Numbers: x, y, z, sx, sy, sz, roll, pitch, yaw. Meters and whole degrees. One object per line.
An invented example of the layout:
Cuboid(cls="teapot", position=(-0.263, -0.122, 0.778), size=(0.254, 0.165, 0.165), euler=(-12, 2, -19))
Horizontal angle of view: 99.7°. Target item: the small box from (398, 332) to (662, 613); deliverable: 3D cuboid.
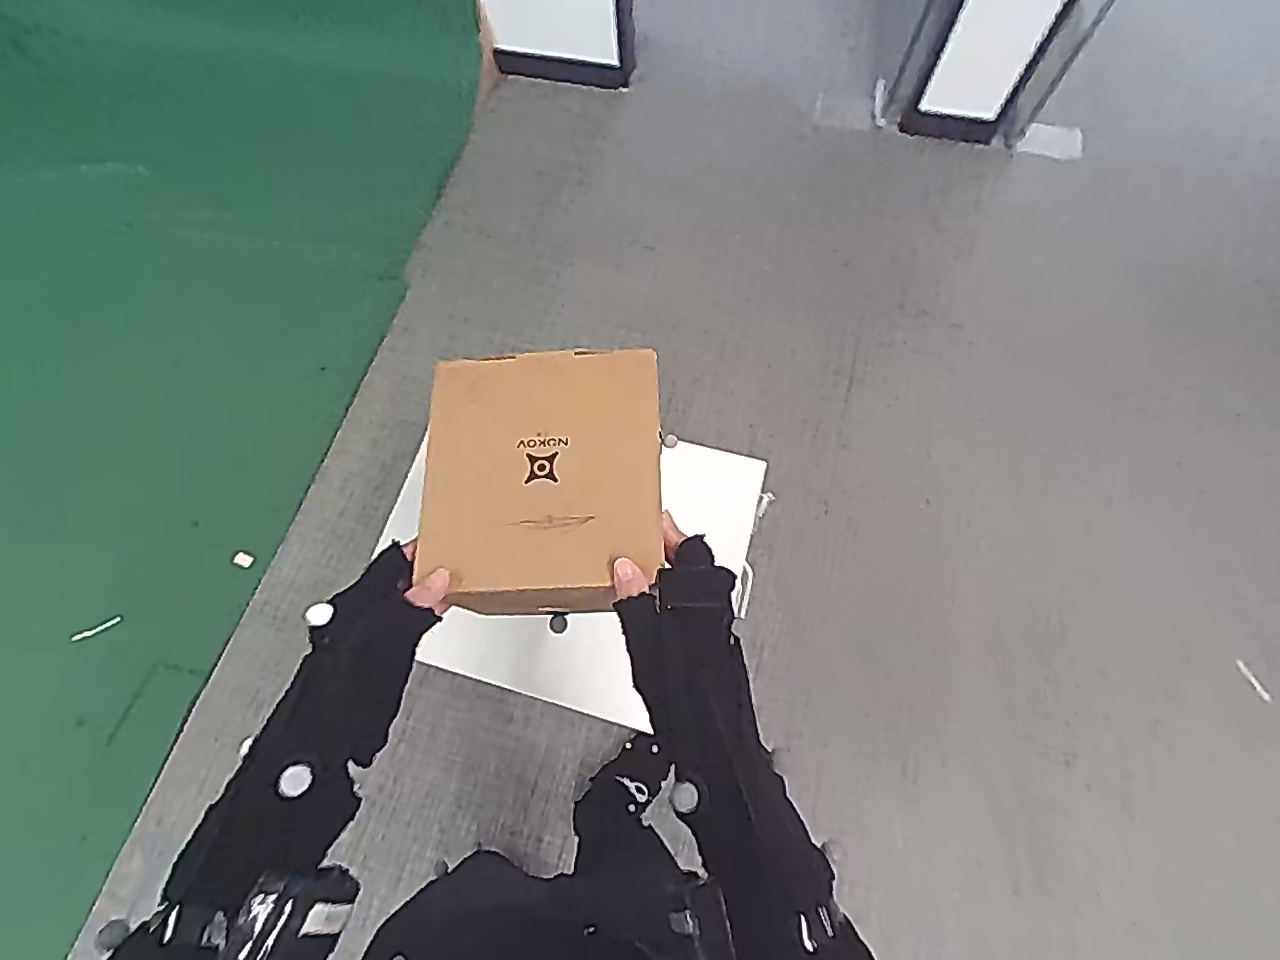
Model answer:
Cuboid(cls="small box", position=(-0.070, 0.007, 0.435), size=(0.168, 0.176, 0.179), euler=(-5, 72, 2))
